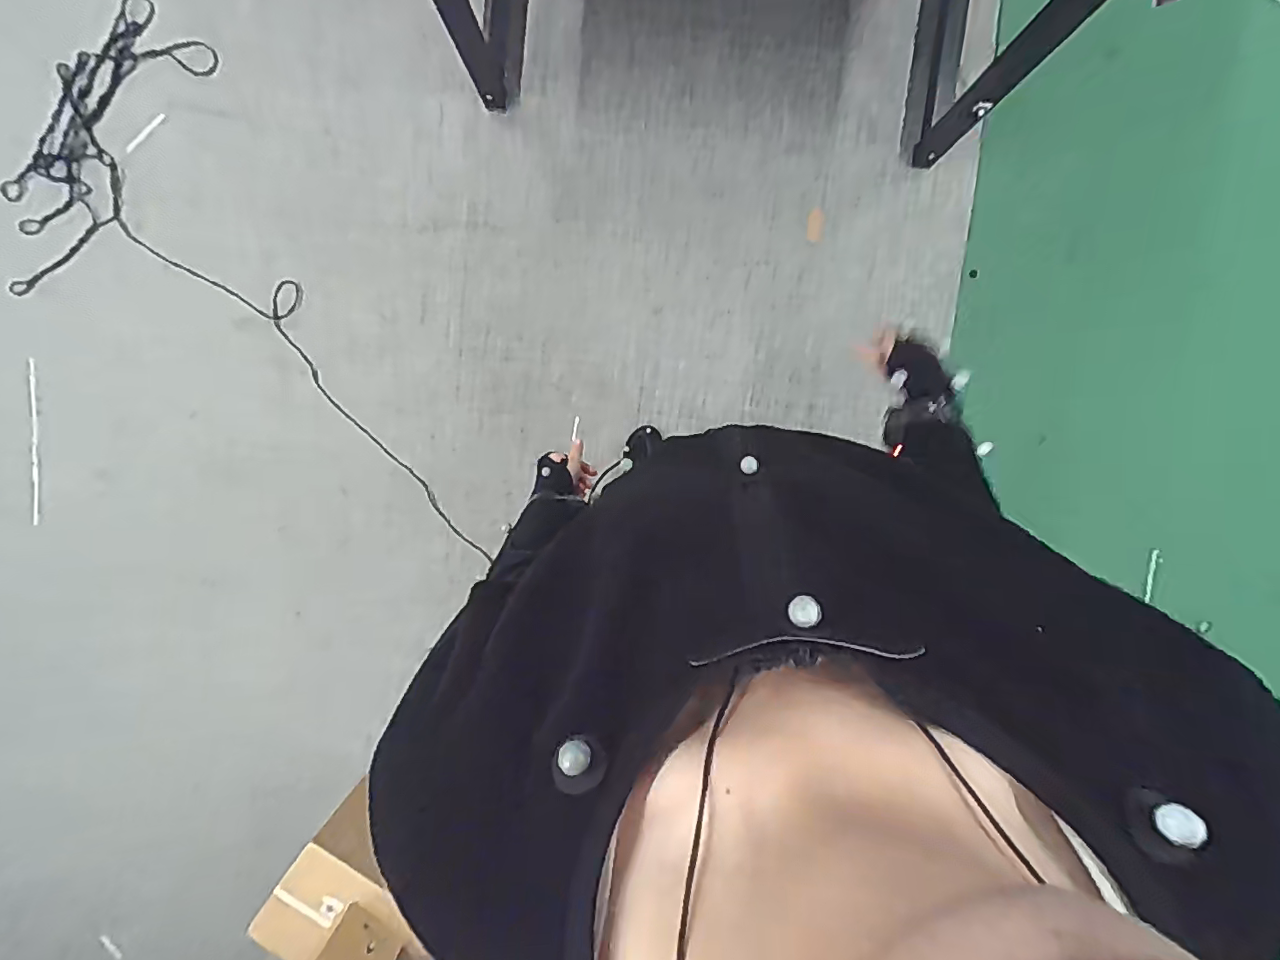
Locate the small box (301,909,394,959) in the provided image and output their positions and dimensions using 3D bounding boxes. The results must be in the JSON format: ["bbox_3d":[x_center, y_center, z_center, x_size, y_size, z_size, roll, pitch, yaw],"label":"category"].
[{"bbox_3d":[-0.696,1.138,1.216,0.168,0.176,0.179,40,95,-2],"label":"small box"}]
